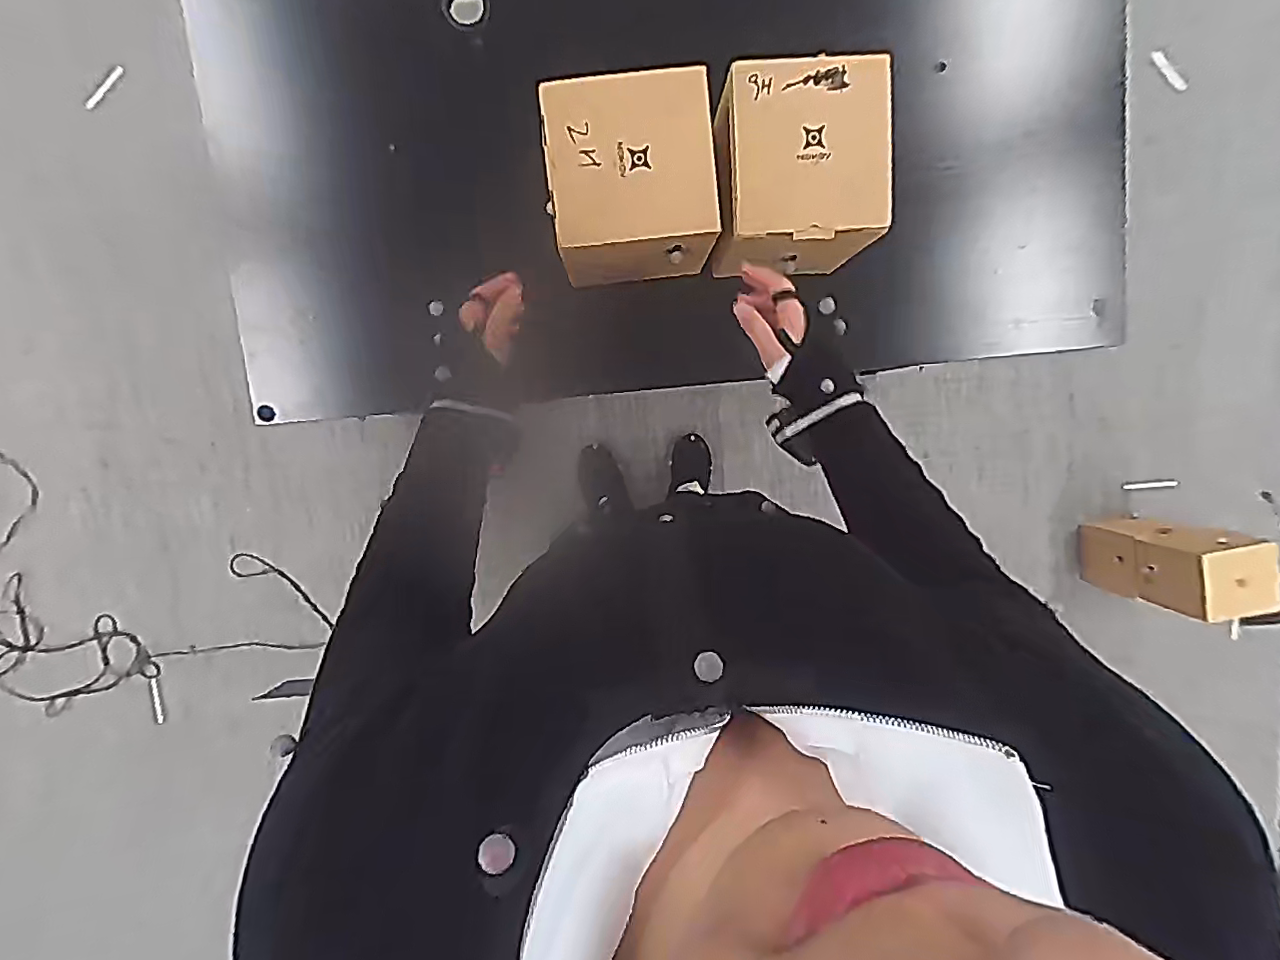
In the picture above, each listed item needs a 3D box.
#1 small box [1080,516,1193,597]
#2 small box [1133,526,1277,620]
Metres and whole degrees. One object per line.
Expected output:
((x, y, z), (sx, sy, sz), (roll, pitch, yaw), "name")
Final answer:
((1.343, 0.199, 1.470), (0.168, 0.176, 0.179), (-8, 97, 0), "small box")
((1.358, 0.217, 1.309), (0.179, 0.176, 0.168), (-11, 96, 1), "small box")
